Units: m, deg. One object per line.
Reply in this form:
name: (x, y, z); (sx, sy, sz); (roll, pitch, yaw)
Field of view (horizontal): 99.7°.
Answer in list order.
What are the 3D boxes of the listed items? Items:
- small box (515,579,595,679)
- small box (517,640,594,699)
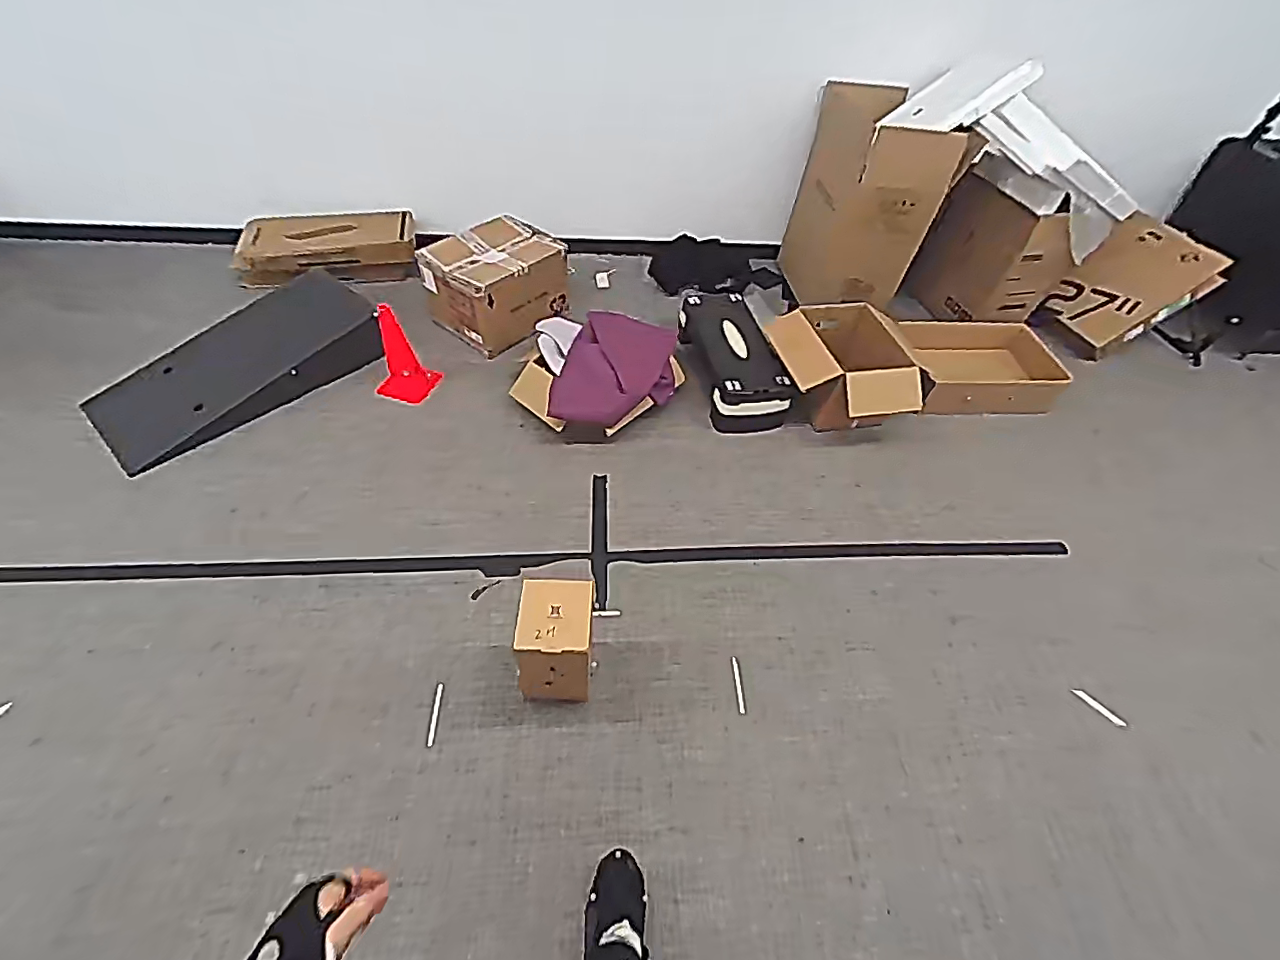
small box: (-0.196, 0.356, 1.291); (0.168, 0.176, 0.179); (2, 51, -2)
small box: (-0.213, 0.464, 1.414); (0.179, 0.176, 0.168); (3, 51, -3)
